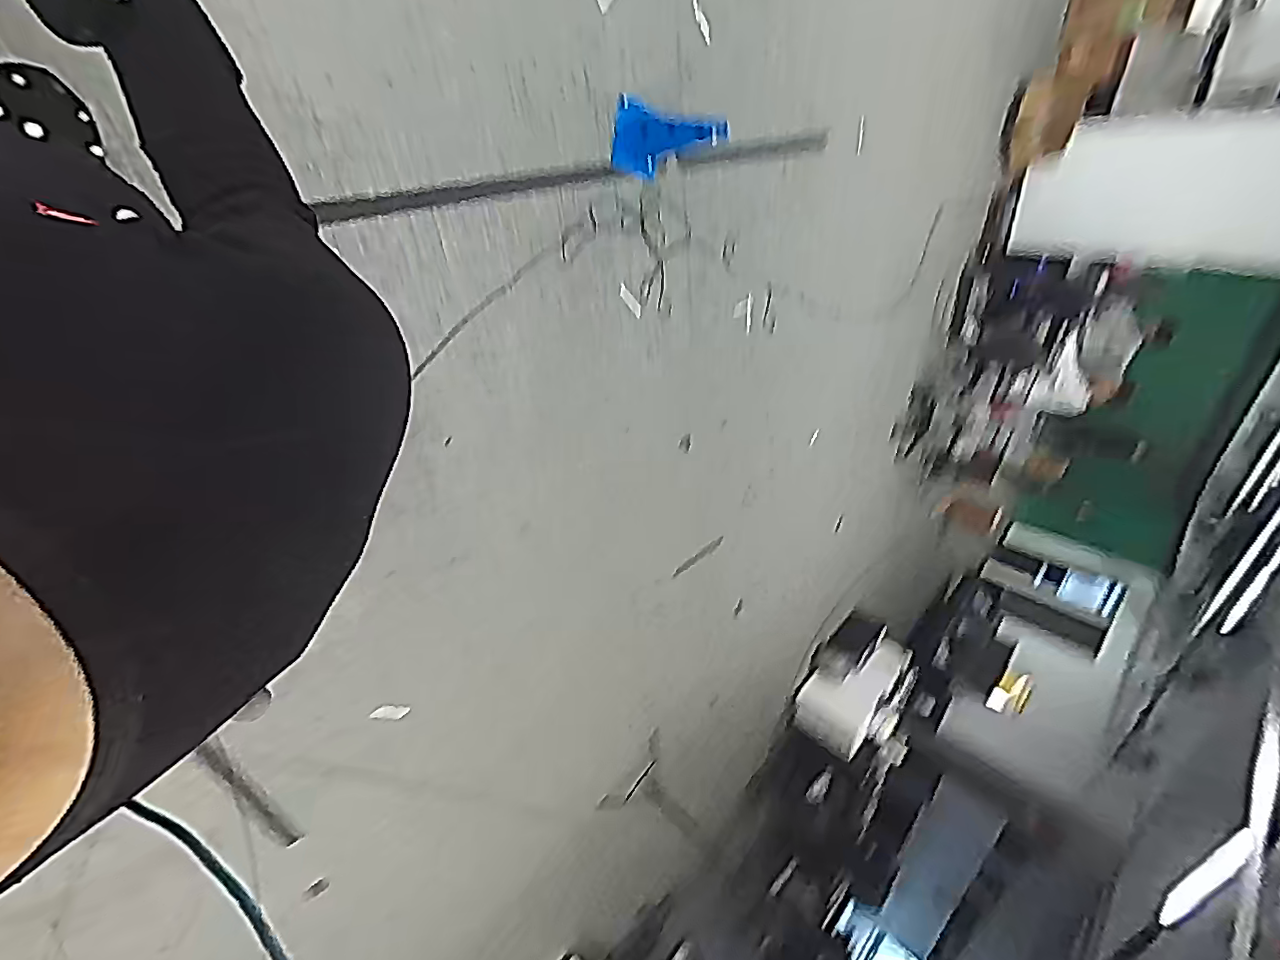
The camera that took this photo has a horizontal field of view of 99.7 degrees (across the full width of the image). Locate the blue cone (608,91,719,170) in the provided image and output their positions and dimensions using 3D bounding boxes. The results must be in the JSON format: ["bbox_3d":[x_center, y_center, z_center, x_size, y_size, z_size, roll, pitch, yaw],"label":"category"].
[{"bbox_3d":[0.090,-1.060,1.626,0.192,0.380,0.193,-8,115,-44],"label":"blue cone"}]
